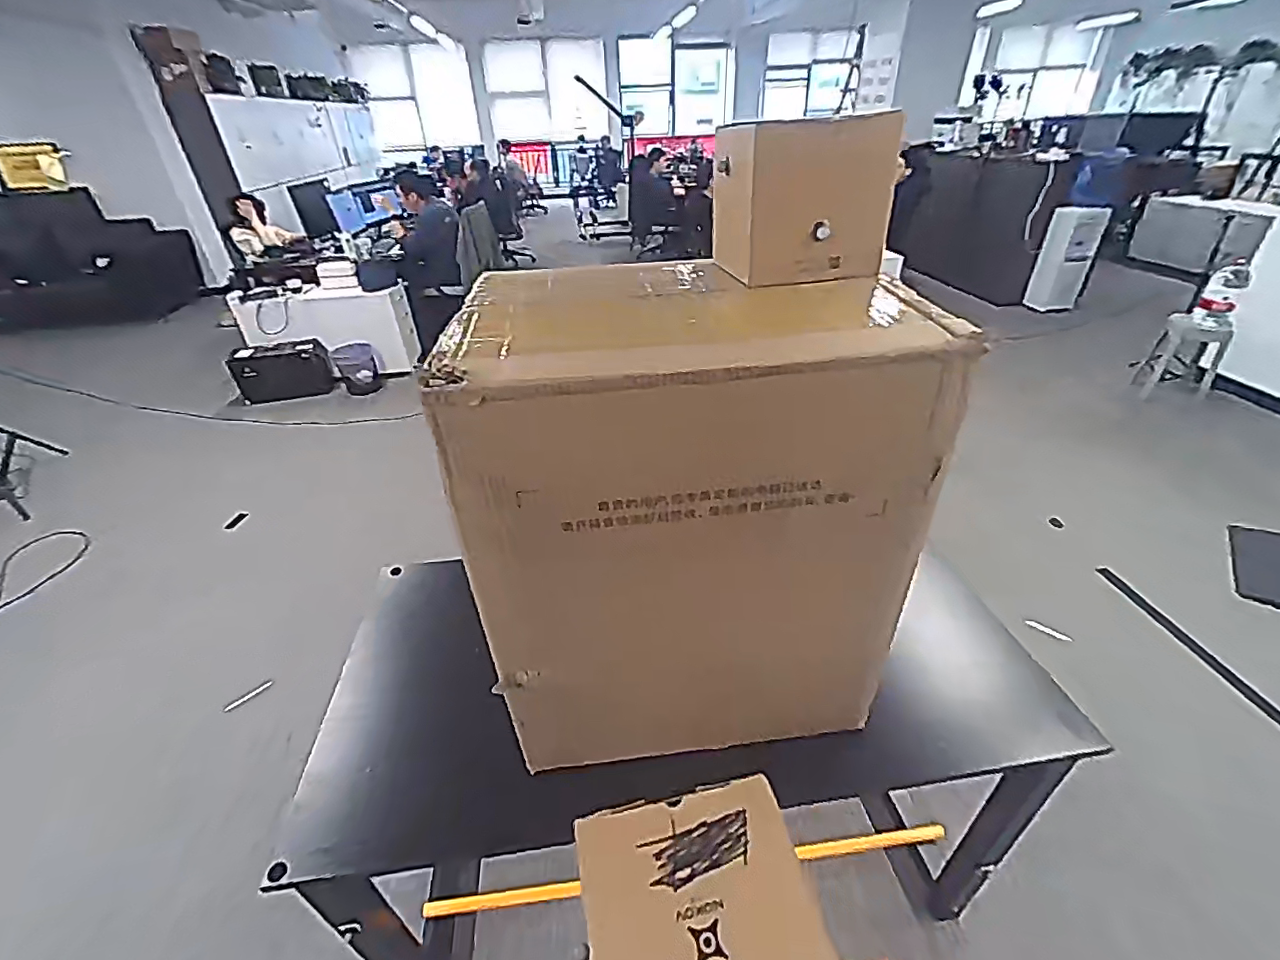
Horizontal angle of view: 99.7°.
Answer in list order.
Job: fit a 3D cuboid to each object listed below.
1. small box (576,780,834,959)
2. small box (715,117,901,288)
[{"bbox_3d":[0.044,0.379,0.429,0.168,0.176,0.179,-9,41,-11],"label":"small box"},{"bbox_3d":[0.192,-0.346,0.680,0.168,0.176,0.179,-7,32,-5],"label":"small box"}]
